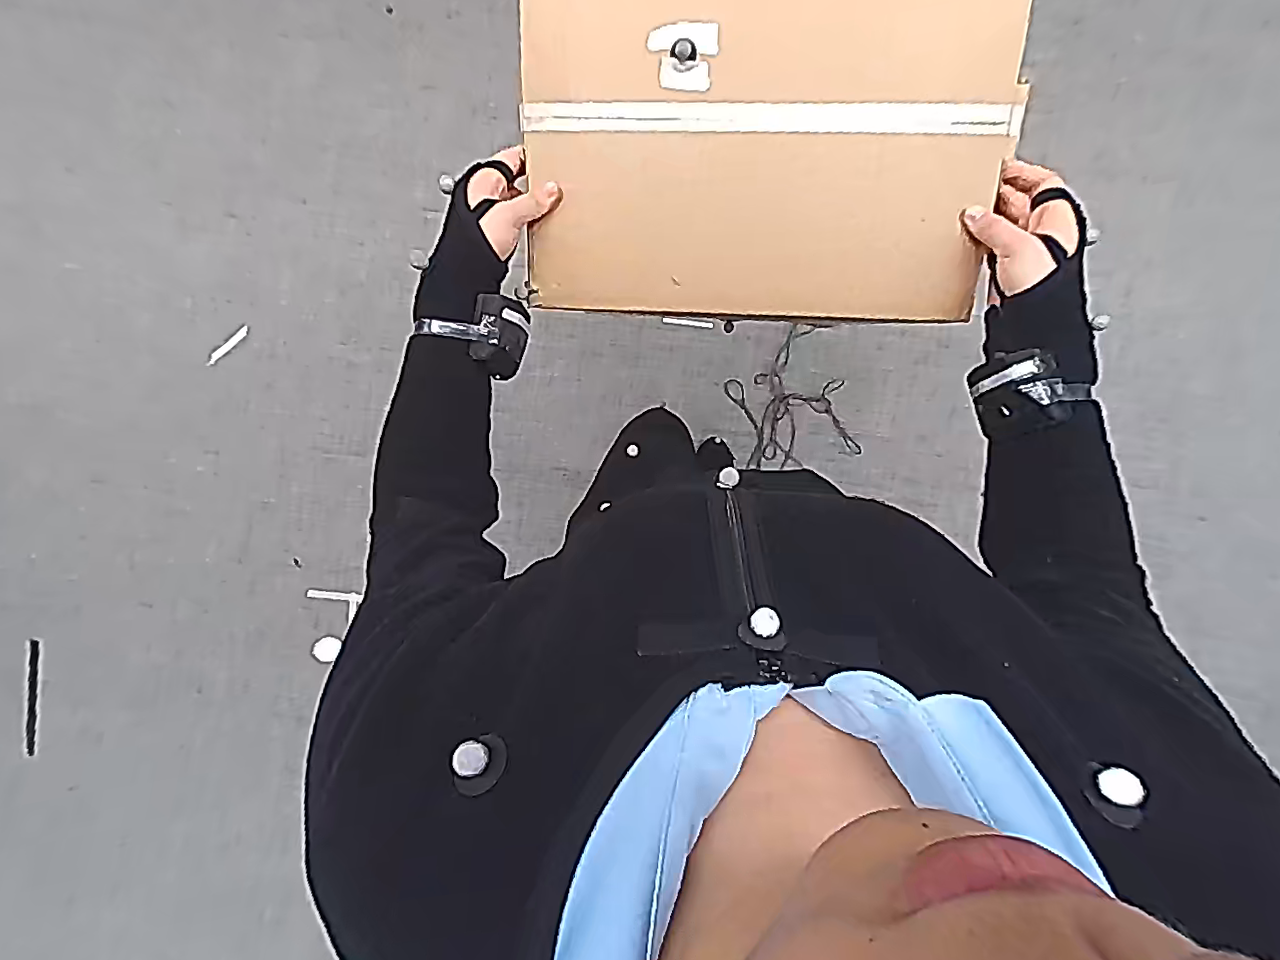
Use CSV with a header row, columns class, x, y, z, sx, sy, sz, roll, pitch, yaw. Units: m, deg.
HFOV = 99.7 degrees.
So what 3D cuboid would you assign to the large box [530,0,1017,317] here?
class,x,y,z,sx,sy,sz,roll,pitch,yaw
large box,0.117,-0.348,0.612,0.408,0.320,0.320,3,104,5
